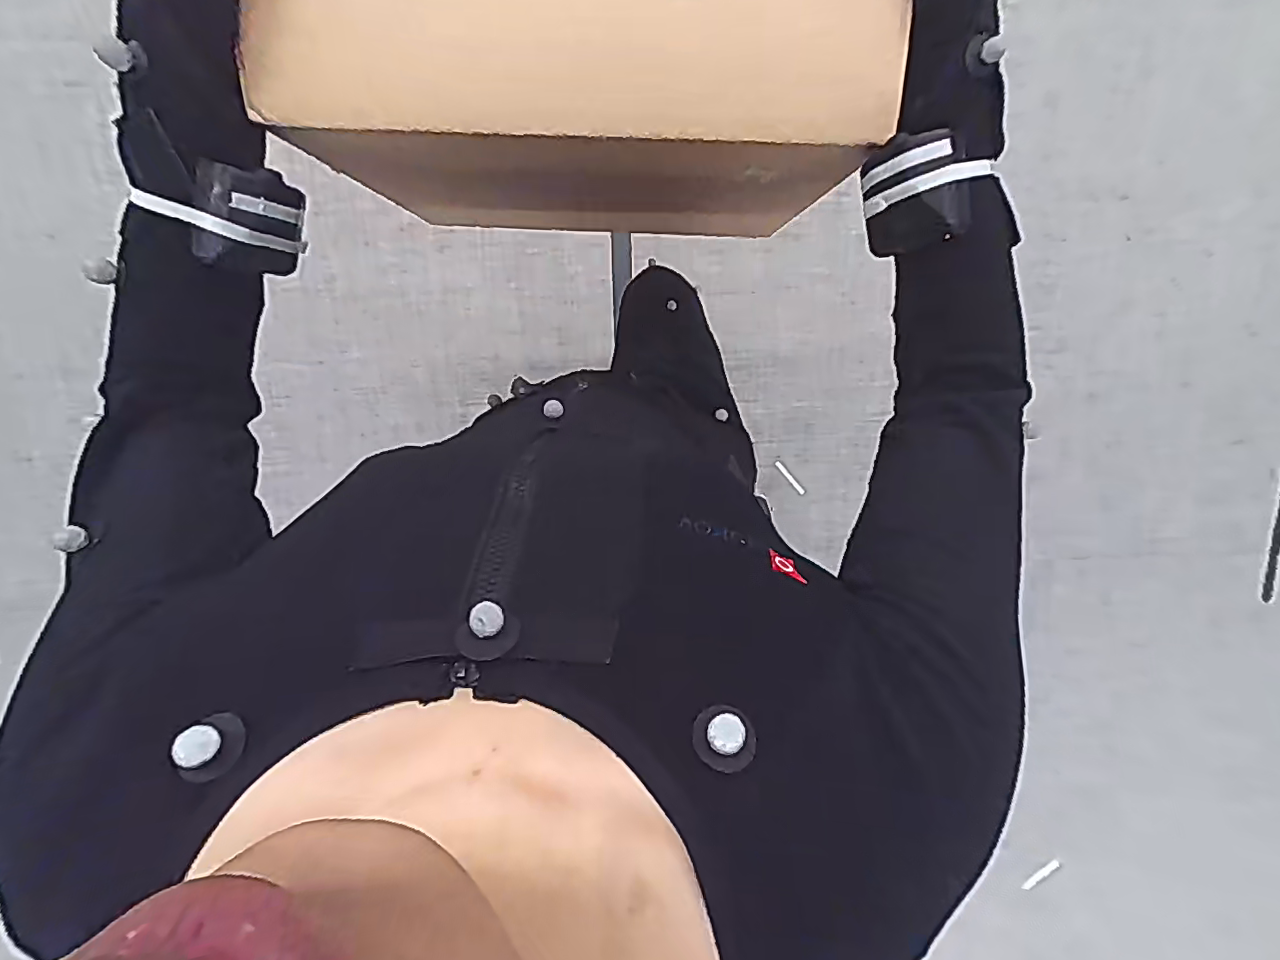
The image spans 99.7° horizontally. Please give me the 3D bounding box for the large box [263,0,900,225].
[{"bbox_3d":[-0.037,-0.417,0.461,0.408,0.320,0.320,1,104,-1],"label":"large box"}]
